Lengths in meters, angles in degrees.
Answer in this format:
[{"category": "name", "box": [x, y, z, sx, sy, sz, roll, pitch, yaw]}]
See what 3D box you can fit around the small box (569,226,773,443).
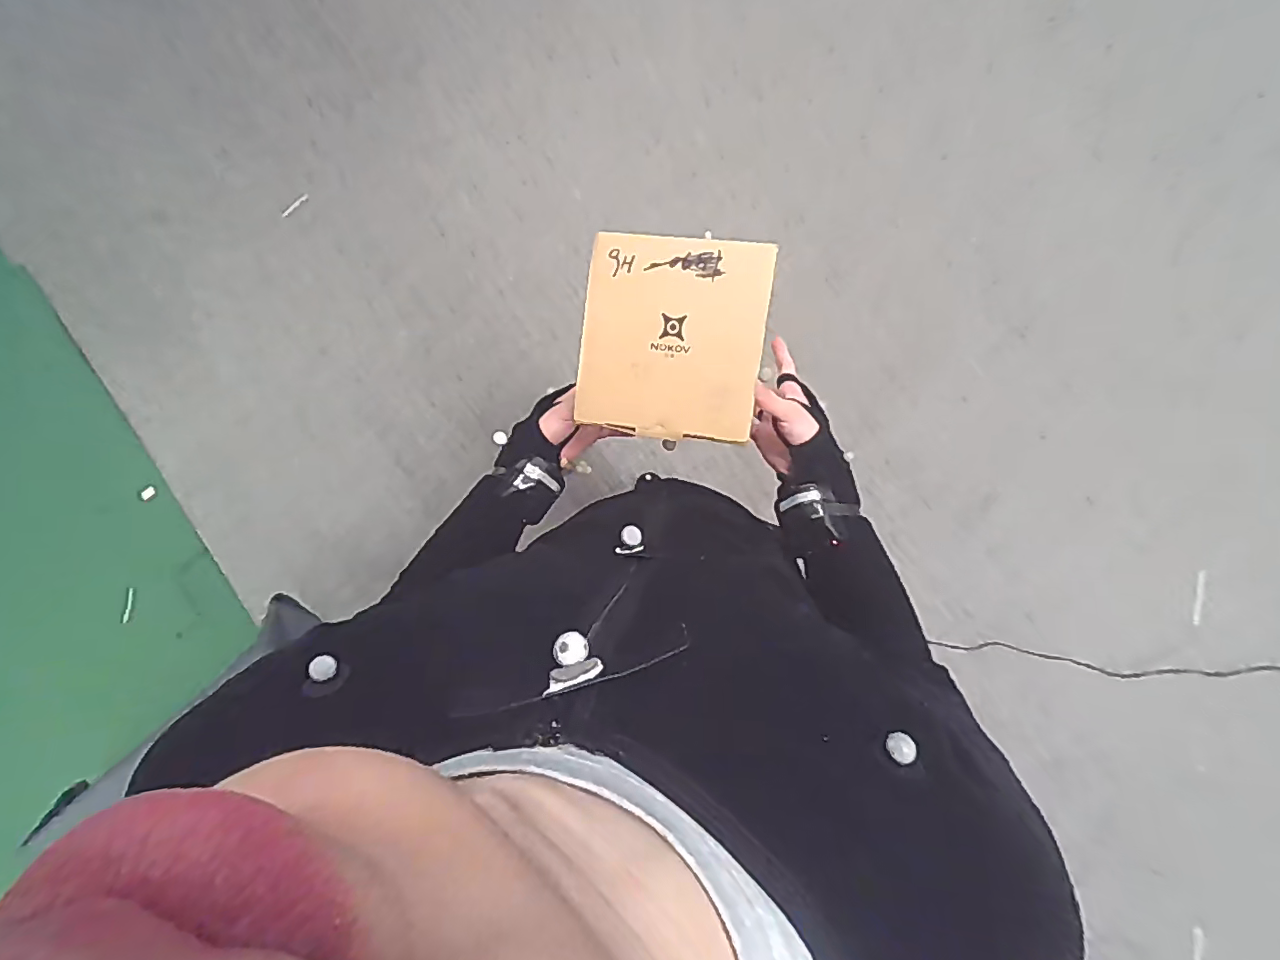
[{"category": "small box", "box": [0.036, -0.139, 0.559, 0.168, 0.176, 0.179, 8, 98, 8]}]
